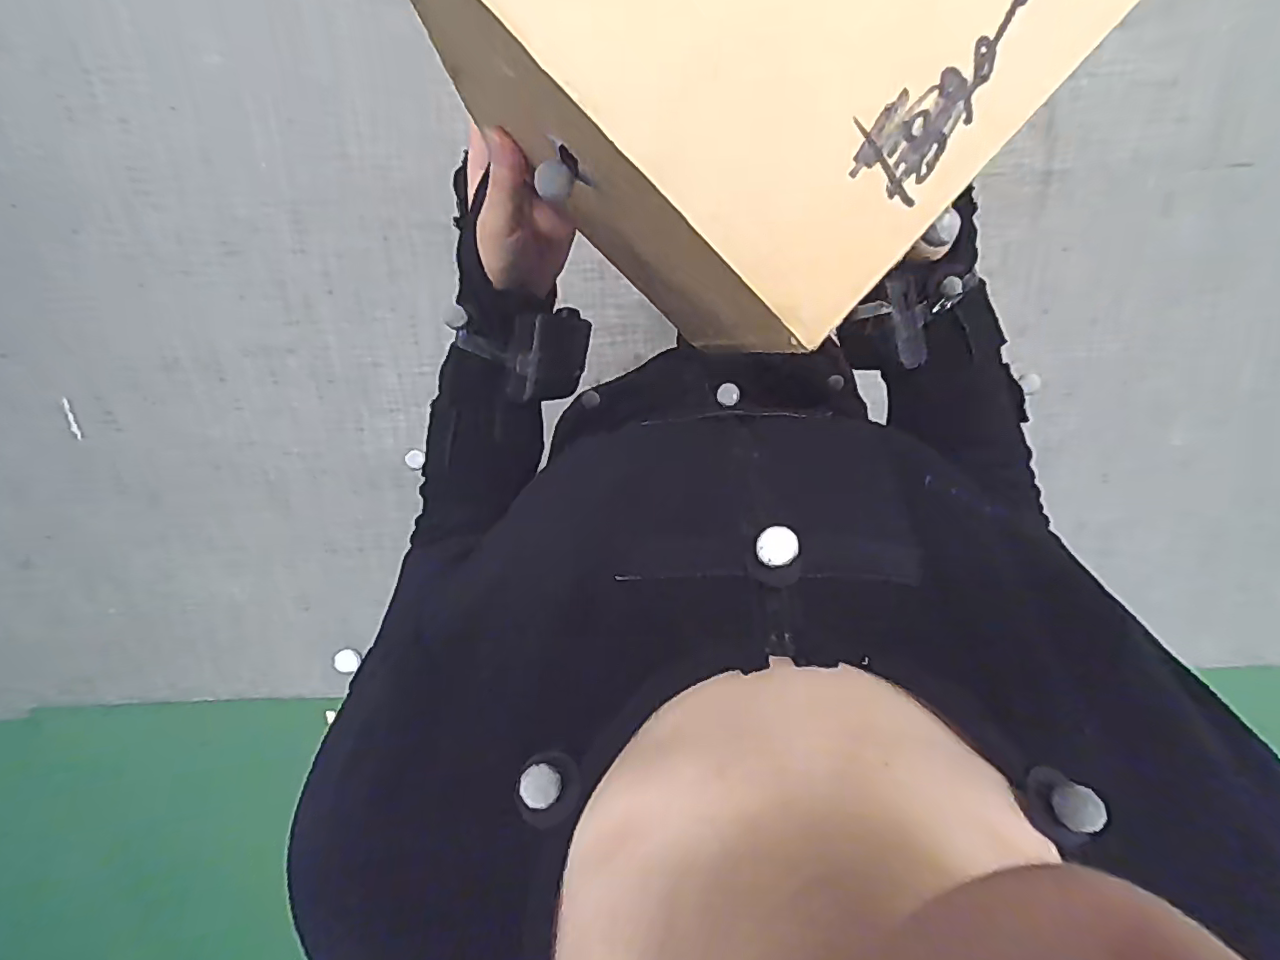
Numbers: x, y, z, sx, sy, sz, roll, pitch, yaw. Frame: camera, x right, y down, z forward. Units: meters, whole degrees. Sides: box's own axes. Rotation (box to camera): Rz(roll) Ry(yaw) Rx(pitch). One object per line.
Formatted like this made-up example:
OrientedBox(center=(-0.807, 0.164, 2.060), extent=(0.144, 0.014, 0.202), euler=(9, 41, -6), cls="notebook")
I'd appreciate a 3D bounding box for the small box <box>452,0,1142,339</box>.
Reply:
OrientedBox(center=(0.043, -0.174, 0.226), extent=(0.179, 0.176, 0.168), euler=(41, 97, -11), cls="small box")
